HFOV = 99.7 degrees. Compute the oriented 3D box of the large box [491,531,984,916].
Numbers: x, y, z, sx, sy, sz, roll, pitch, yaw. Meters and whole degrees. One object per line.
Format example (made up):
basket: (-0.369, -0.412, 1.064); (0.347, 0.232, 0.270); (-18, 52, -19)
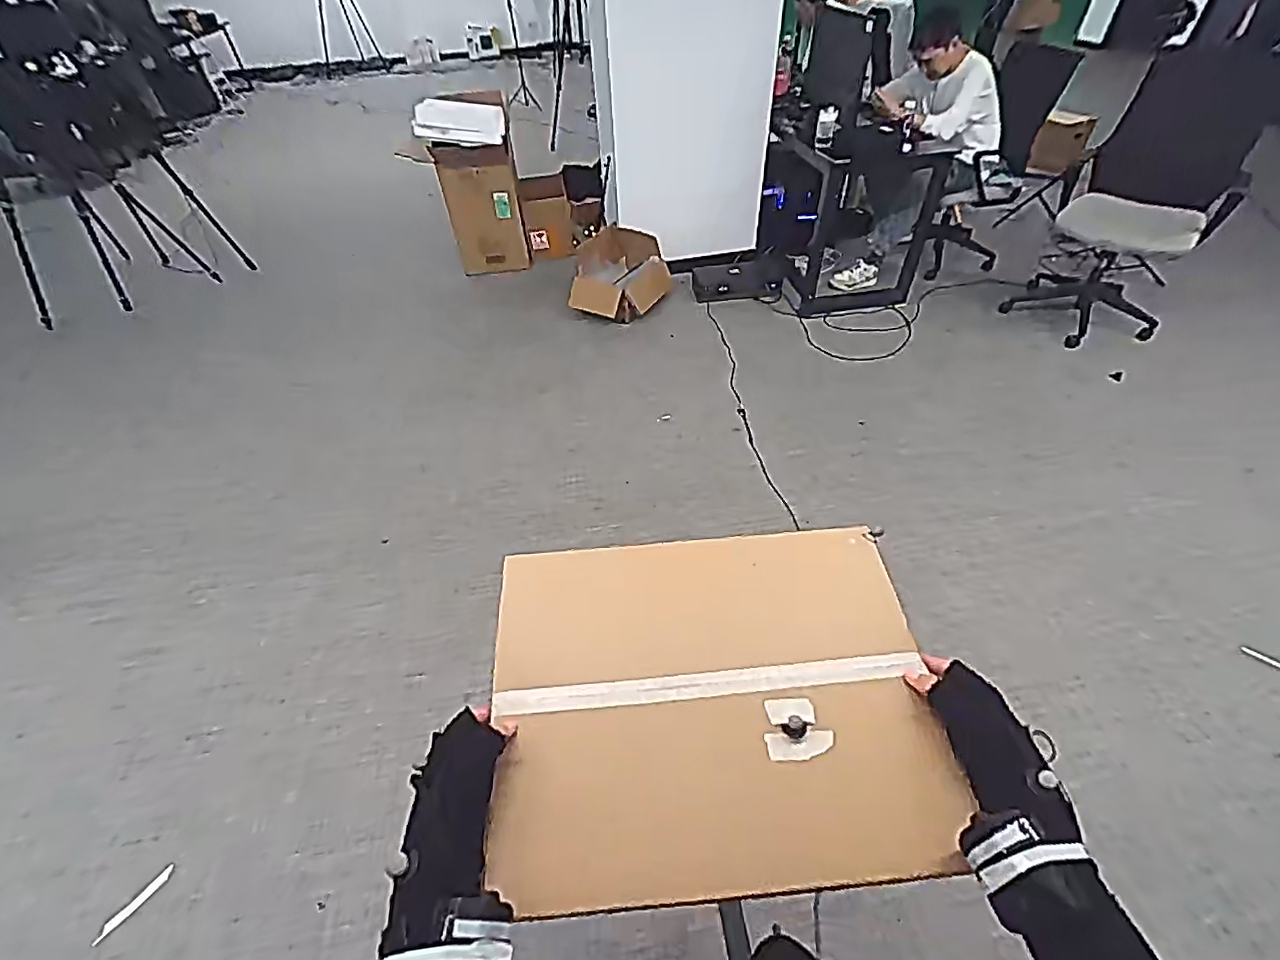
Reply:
large box: (0.068, 0.287, 0.630); (0.408, 0.320, 0.320); (-5, 53, -2)
